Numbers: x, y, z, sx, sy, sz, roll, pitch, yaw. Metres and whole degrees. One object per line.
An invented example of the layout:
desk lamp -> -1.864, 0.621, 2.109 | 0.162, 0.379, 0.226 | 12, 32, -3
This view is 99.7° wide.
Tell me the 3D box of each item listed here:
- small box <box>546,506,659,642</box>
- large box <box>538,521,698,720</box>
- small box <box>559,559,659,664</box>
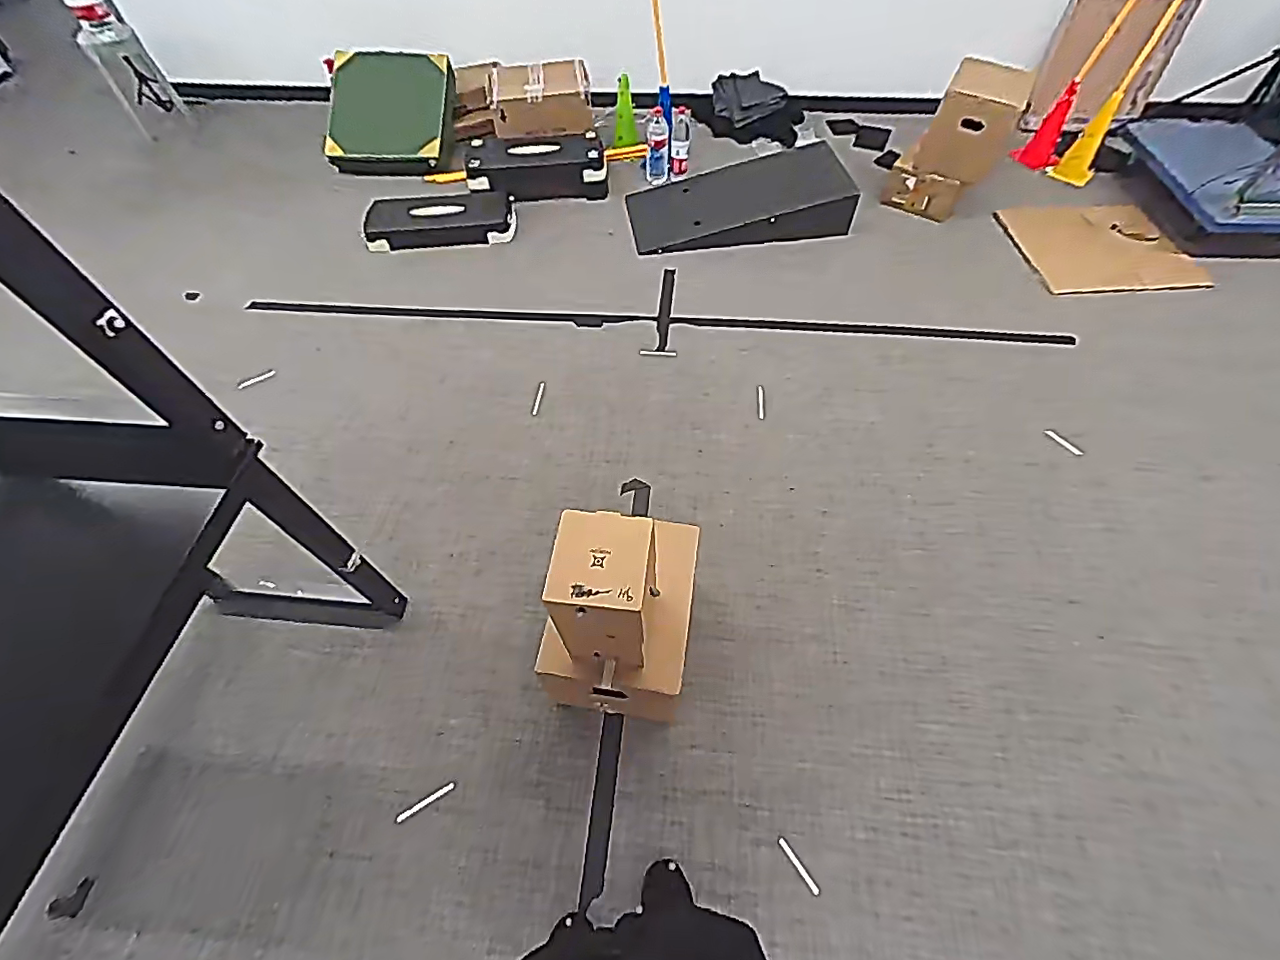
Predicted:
small box -> -0.059, 0.171, 0.976 | 0.168, 0.176, 0.179 | 5, 55, 7
large box -> -0.035, 0.341, 1.352 | 0.320, 0.320, 0.408 | 8, 56, 5
small box -> -0.056, 0.258, 1.114 | 0.168, 0.176, 0.179 | 7, 57, 7
